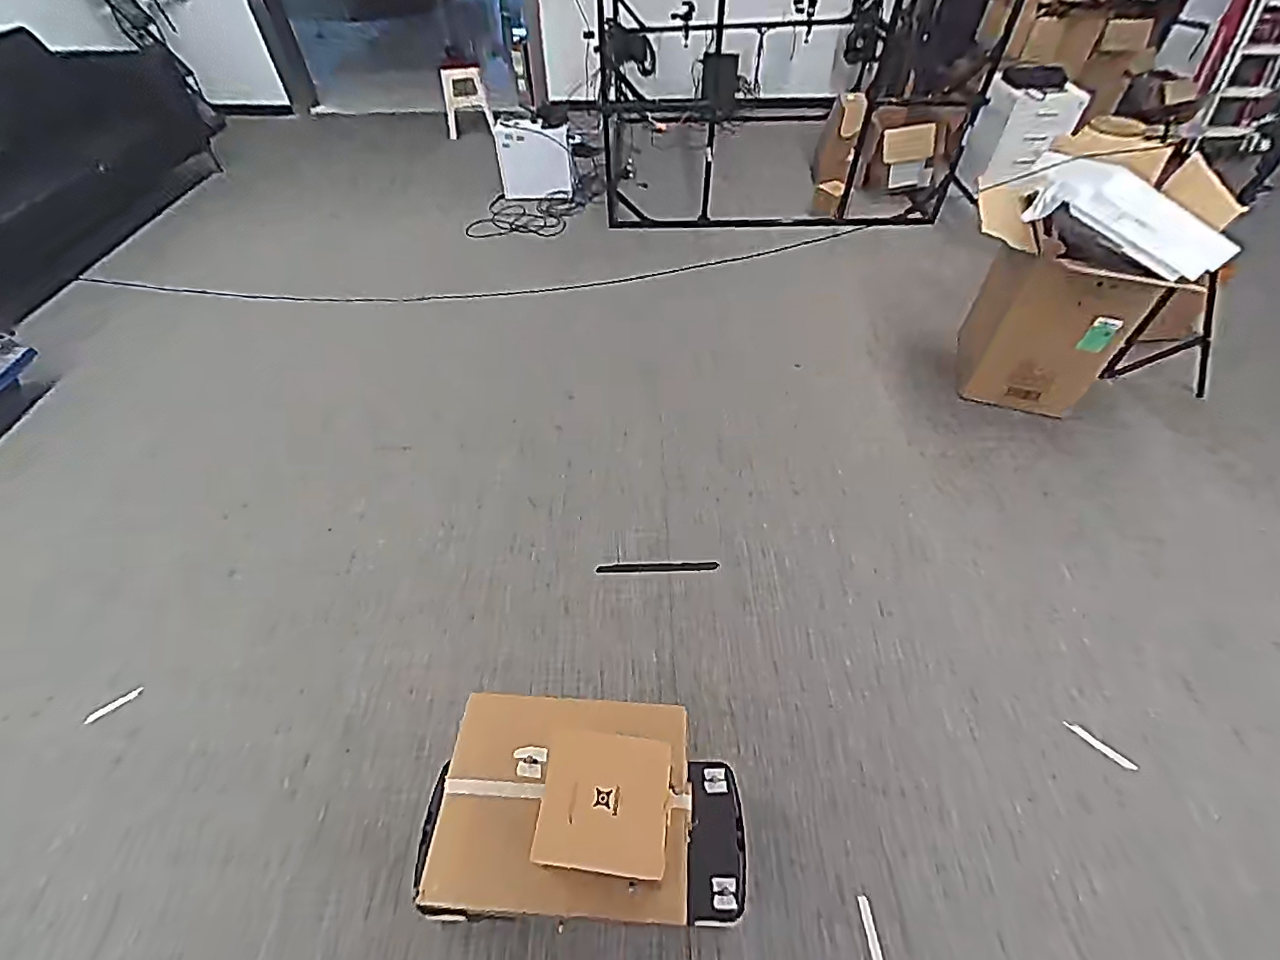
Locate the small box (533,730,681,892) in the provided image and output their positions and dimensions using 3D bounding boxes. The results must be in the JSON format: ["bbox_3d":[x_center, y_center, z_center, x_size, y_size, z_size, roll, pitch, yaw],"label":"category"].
[{"bbox_3d":[-0.038,0.482,0.783,0.179,0.176,0.168,5,50,6],"label":"small box"}]

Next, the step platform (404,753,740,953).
[{"bbox_3d":[-0.131,0.787,1.161,0.684,0.204,0.286,3,49,5],"label":"step platform"}]

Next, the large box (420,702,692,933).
[{"bbox_3d":[-0.113,0.621,0.989,0.408,0.320,0.320,2,48,3],"label":"large box"}]
